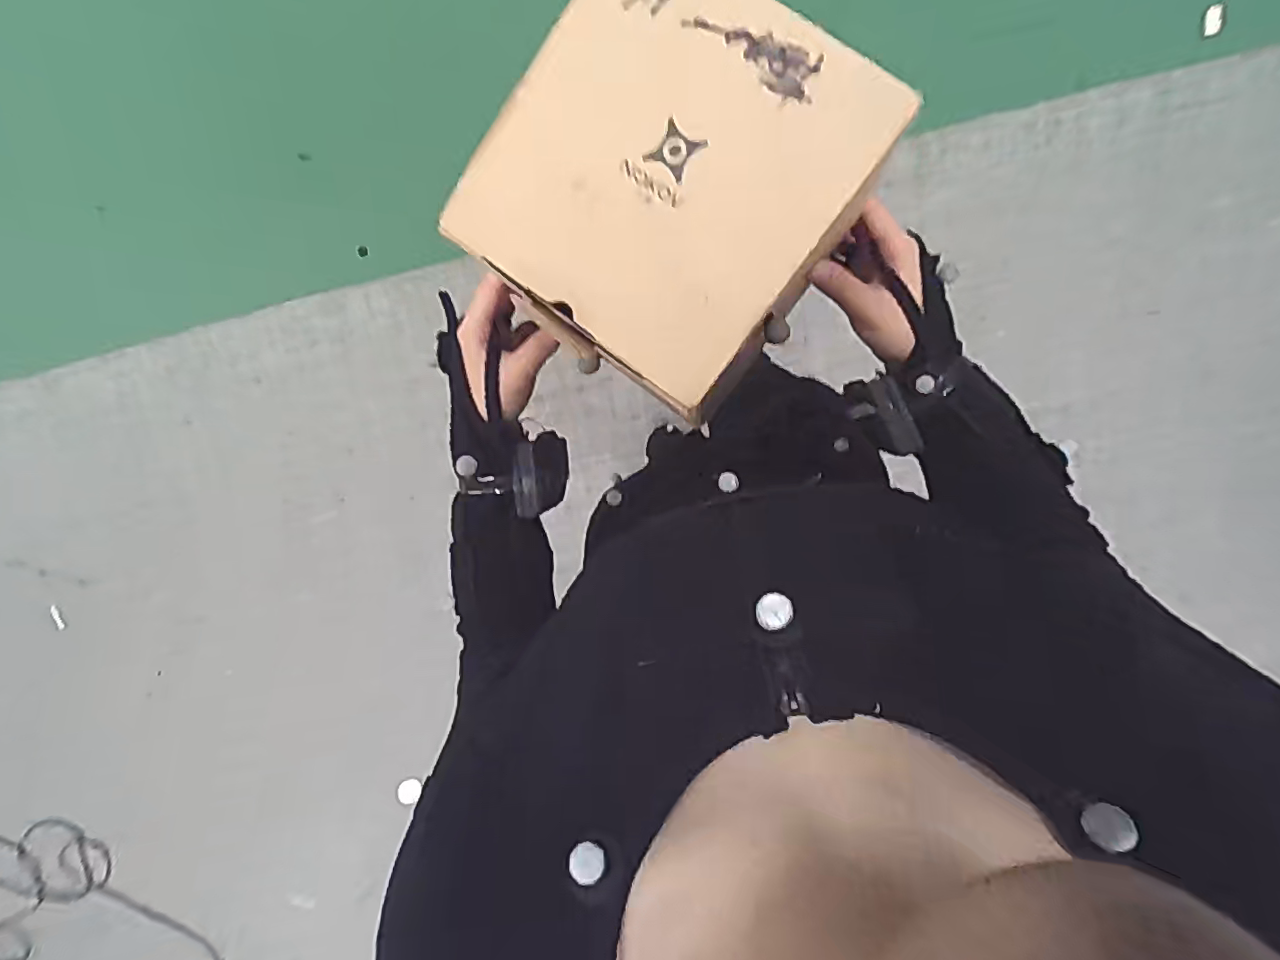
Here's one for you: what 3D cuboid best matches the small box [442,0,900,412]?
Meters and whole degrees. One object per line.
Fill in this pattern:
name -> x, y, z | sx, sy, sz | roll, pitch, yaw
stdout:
small box -> 0.020, -0.158, 0.344 | 0.168, 0.176, 0.179 | 37, 98, 5
